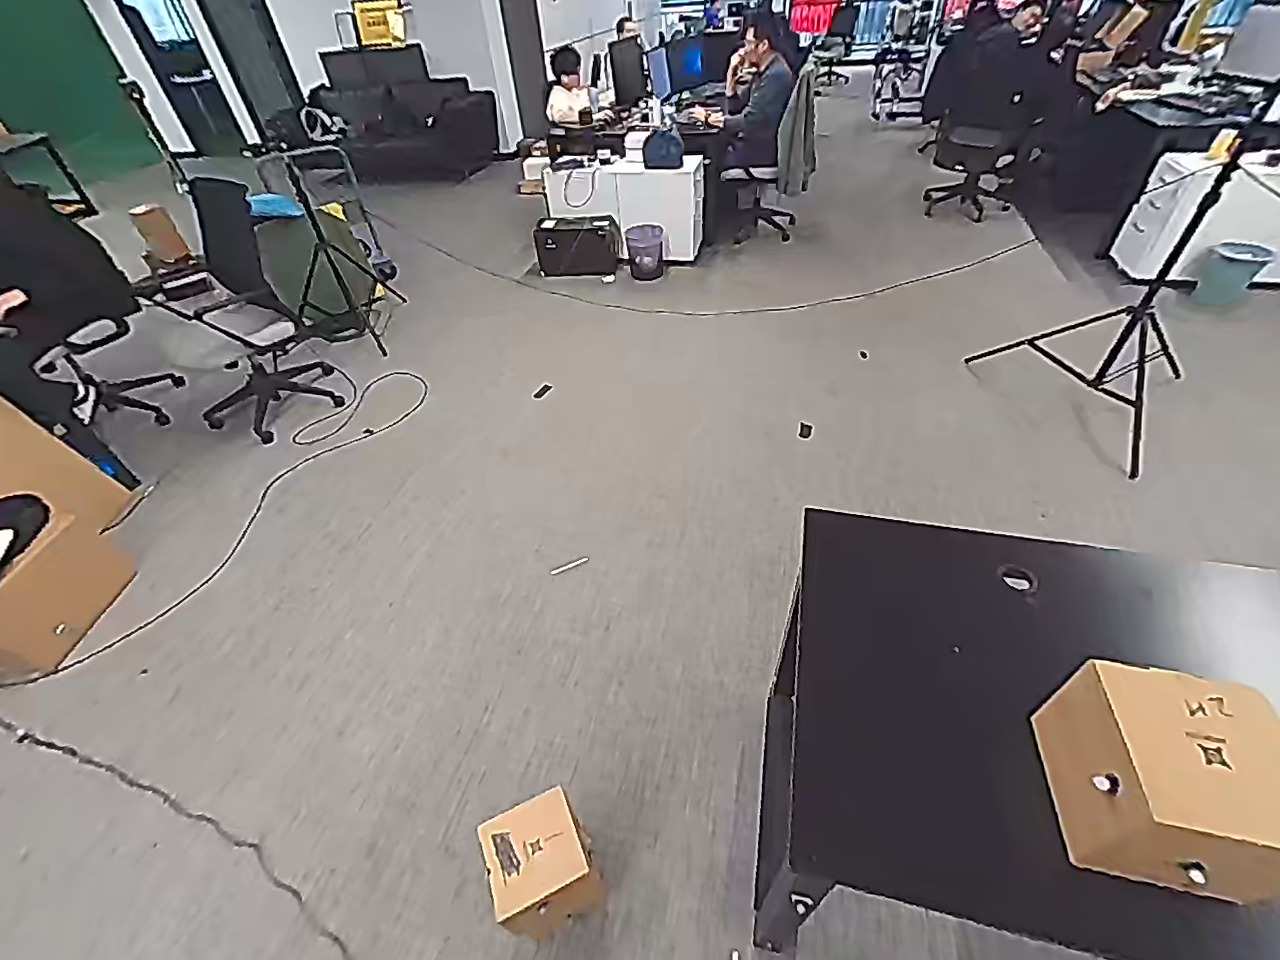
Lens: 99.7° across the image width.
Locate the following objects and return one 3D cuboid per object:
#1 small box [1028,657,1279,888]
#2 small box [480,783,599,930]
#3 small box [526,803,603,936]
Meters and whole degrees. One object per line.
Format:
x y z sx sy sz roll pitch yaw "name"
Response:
0.592 0.338 0.626 0.168 0.176 0.179 7 44 12 "small box"
-0.197 0.753 1.080 0.179 0.176 0.168 -20 45 -16 "small box"
-0.190 0.865 1.202 0.179 0.176 0.168 -21 45 -18 "small box"
